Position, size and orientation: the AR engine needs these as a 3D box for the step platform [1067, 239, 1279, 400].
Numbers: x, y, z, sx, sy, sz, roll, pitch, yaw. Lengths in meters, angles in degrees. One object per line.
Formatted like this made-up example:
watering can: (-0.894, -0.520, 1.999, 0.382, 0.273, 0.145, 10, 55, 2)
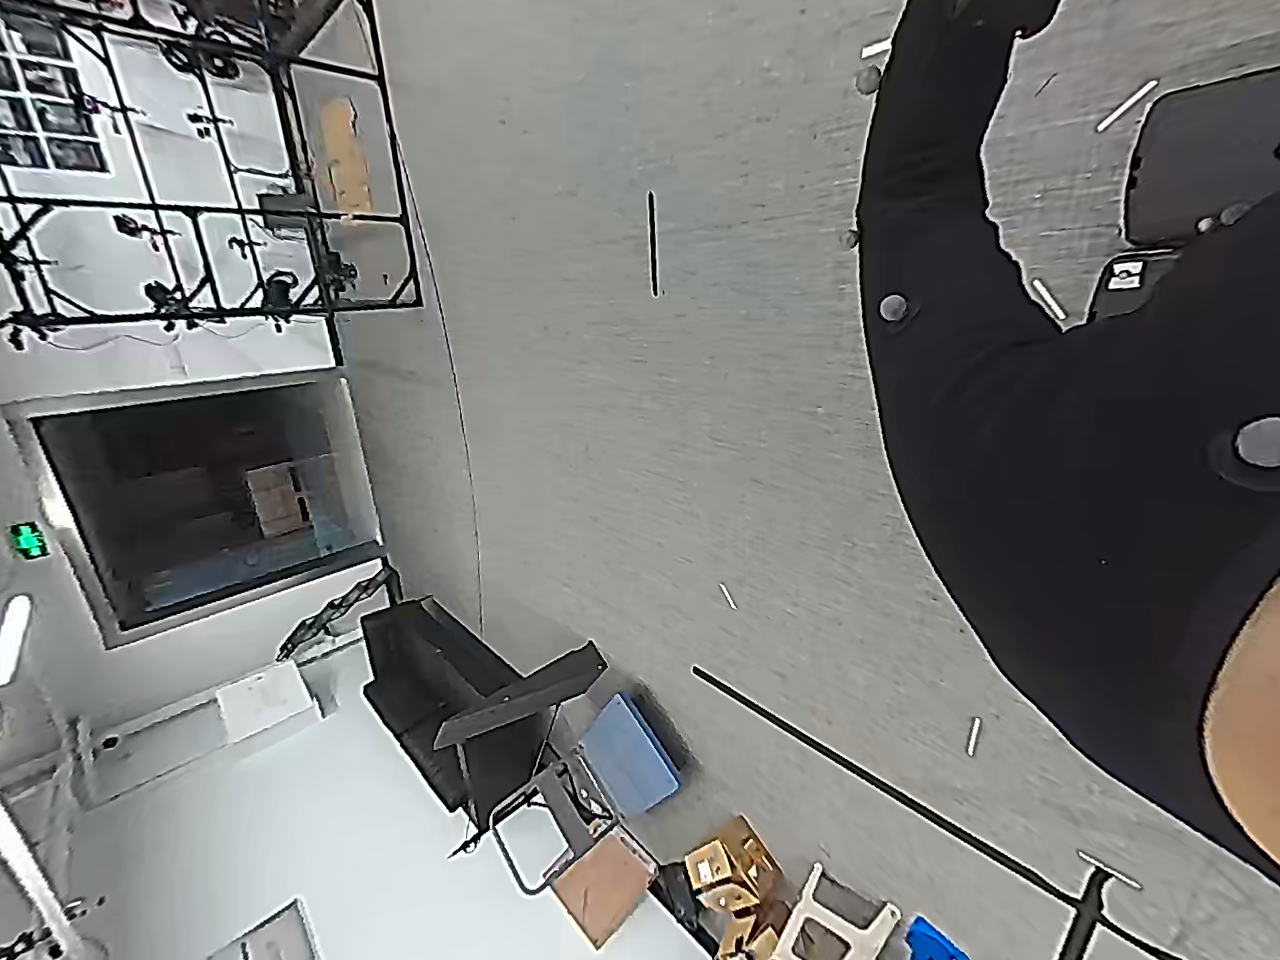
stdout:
step platform: (1.226, -0.298, 0.998, 0.684, 0.204, 0.286, 16, 116, 46)
